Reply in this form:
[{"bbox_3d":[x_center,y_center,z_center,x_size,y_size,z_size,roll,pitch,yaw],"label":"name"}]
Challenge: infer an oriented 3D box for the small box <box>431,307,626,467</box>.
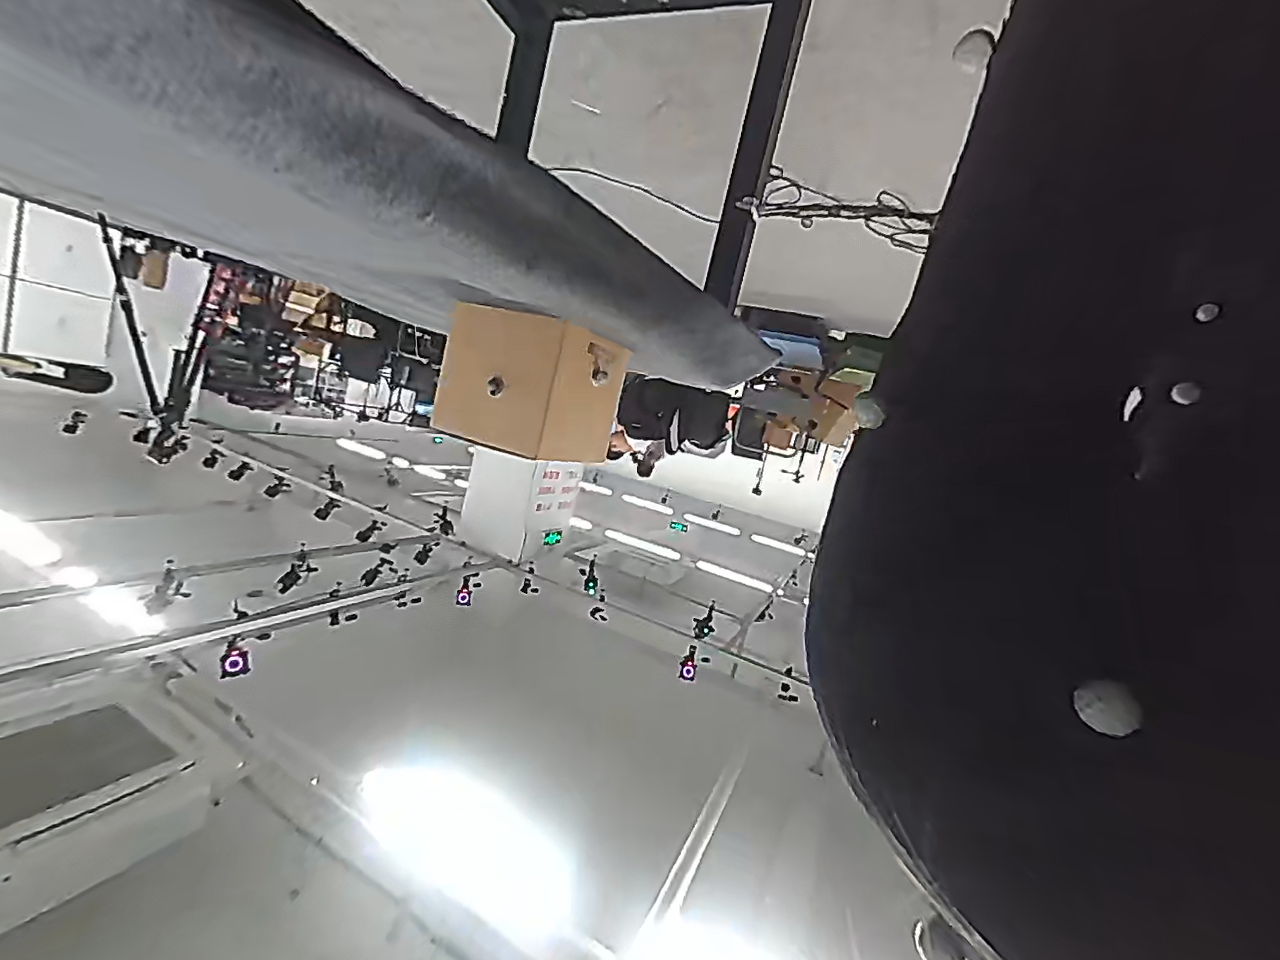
[{"bbox_3d":[-0.141,-0.121,0.717,0.179,0.176,0.168,16,-173,24],"label":"small box"}]
